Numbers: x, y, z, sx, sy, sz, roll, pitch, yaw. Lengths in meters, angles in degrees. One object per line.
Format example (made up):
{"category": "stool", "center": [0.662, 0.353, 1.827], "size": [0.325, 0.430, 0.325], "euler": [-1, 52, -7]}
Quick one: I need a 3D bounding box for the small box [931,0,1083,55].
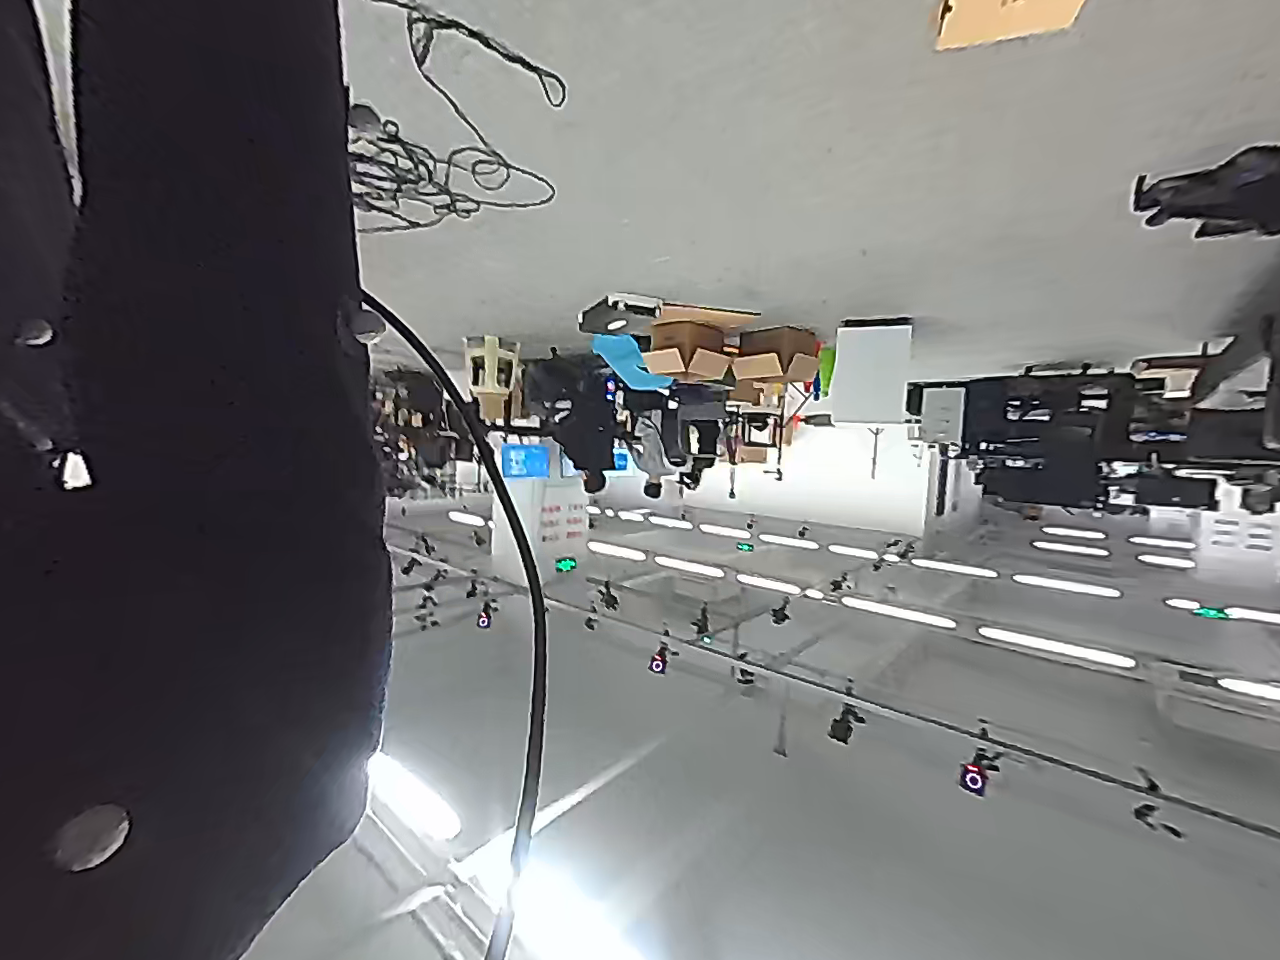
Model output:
{"category": "small box", "center": [0.503, -0.722, 0.718], "size": [0.179, 0.176, 0.168], "euler": [5, -175, 19]}
